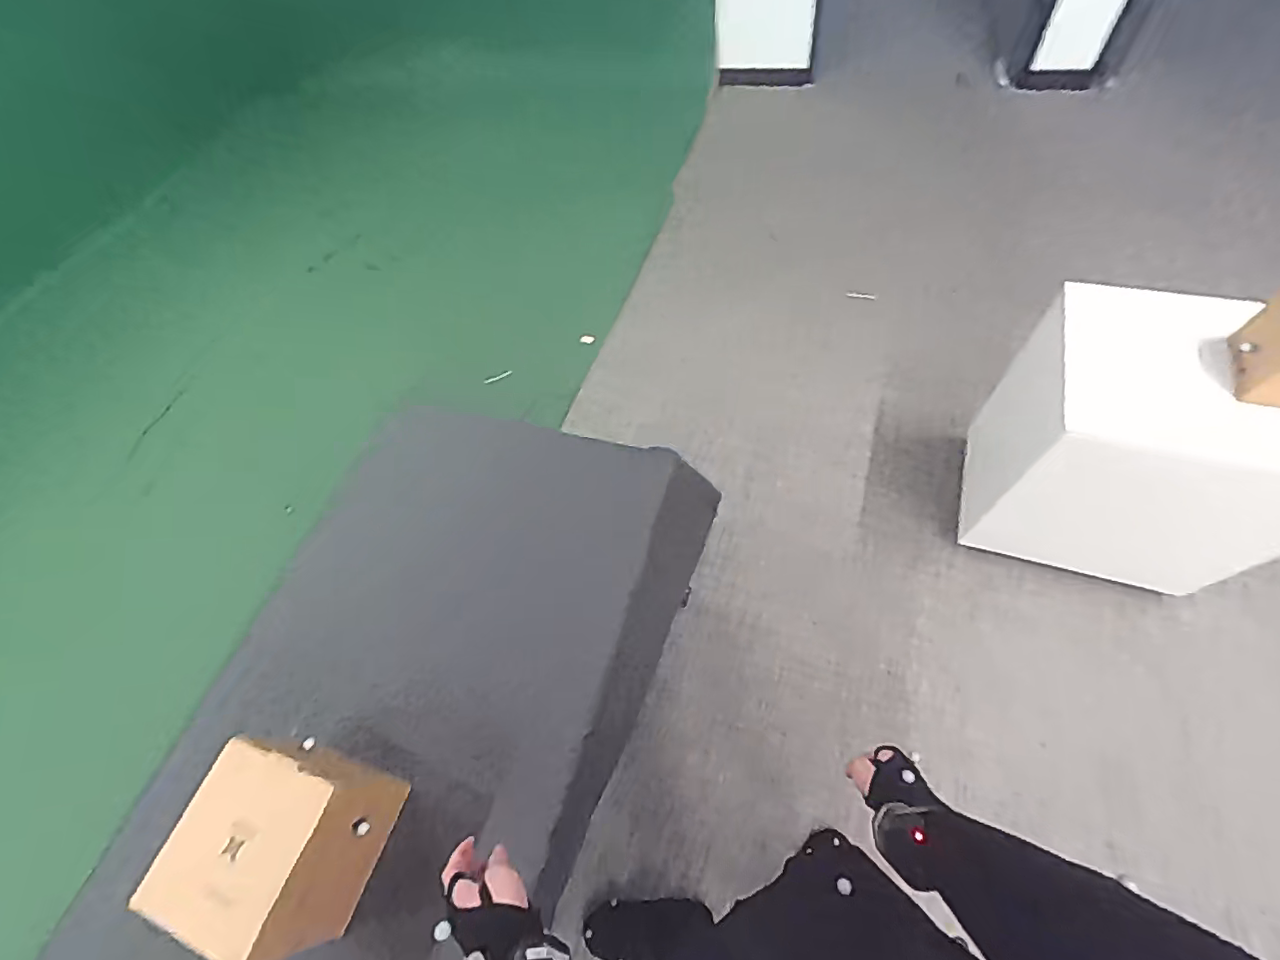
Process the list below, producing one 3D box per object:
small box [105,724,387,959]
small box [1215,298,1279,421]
[{"bbox_3d":[-0.434,0.412,0.636,0.168,0.176,0.179,13,64,16],"label":"small box"},{"bbox_3d":[1.172,-0.210,0.936,0.179,0.176,0.168,14,63,16],"label":"small box"}]
